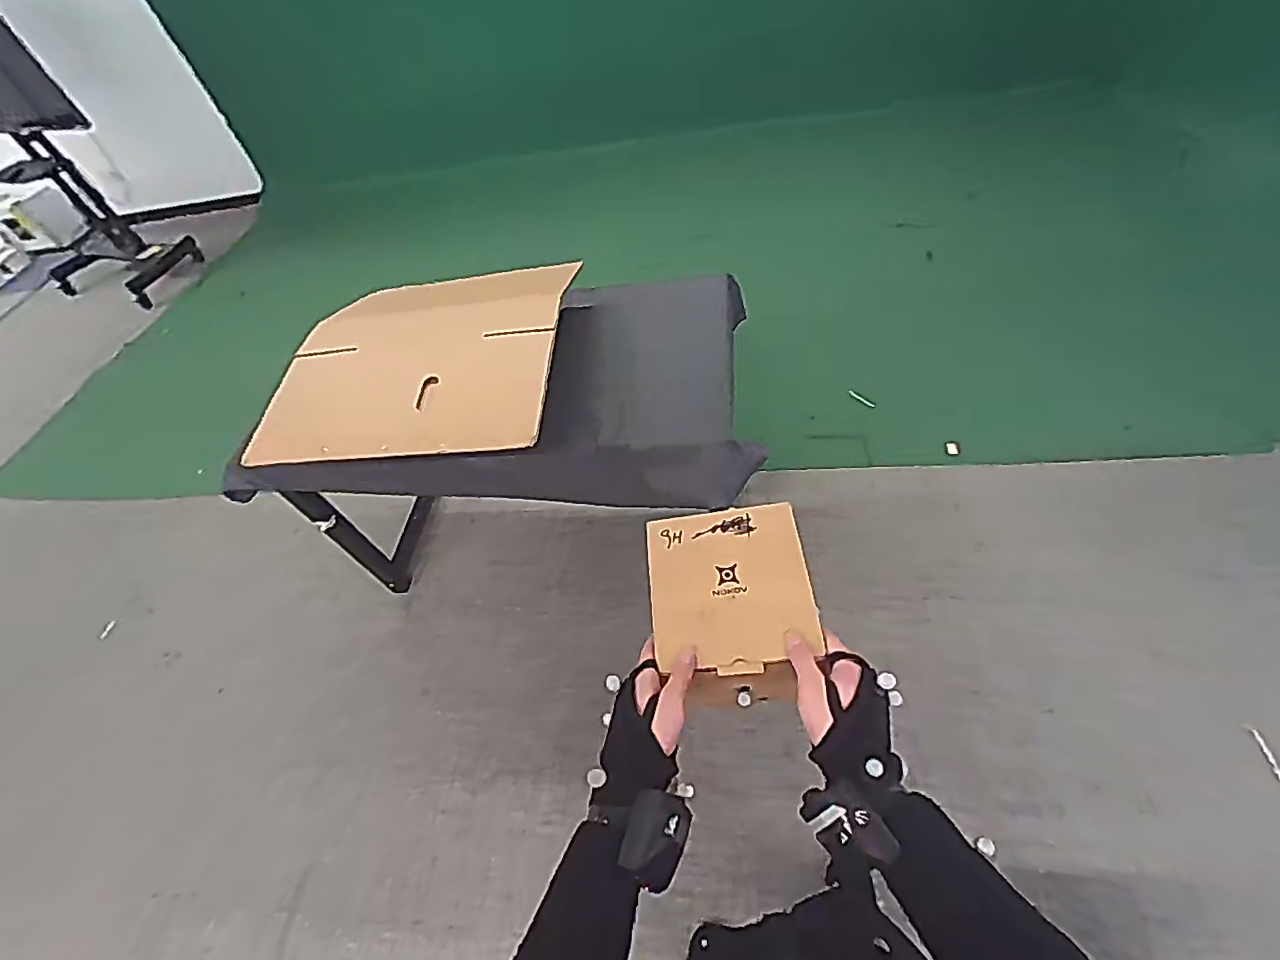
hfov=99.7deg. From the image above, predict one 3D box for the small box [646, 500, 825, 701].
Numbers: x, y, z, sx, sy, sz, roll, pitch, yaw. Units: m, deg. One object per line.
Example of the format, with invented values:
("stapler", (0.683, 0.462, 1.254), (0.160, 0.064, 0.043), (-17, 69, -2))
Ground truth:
("small box", (0.110, 0.151, 0.637), (0.168, 0.176, 0.179), (-11, 55, 6))
